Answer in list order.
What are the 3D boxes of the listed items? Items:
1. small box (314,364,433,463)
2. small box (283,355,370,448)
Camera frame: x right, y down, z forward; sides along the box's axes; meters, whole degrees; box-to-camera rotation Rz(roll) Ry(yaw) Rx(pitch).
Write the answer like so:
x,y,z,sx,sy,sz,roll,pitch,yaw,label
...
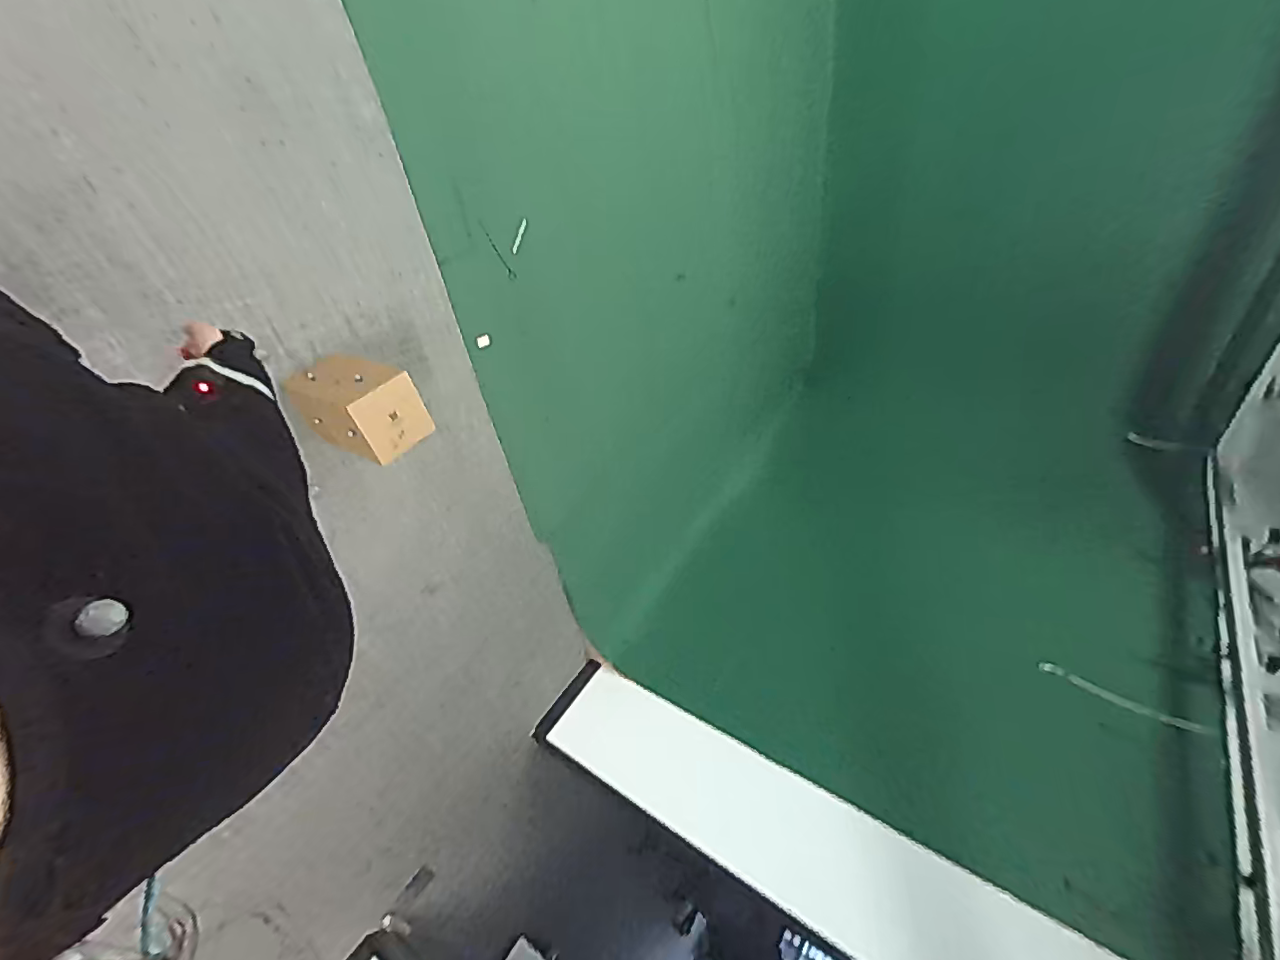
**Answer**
x,y,z,sx,sy,sz,roll,pitch,yaw,label
-0.653,-0.172,1.328,0.168,0.176,0.179,-45,140,-33,small box
-0.786,-0.214,1.417,0.168,0.176,0.179,-45,140,-34,small box
